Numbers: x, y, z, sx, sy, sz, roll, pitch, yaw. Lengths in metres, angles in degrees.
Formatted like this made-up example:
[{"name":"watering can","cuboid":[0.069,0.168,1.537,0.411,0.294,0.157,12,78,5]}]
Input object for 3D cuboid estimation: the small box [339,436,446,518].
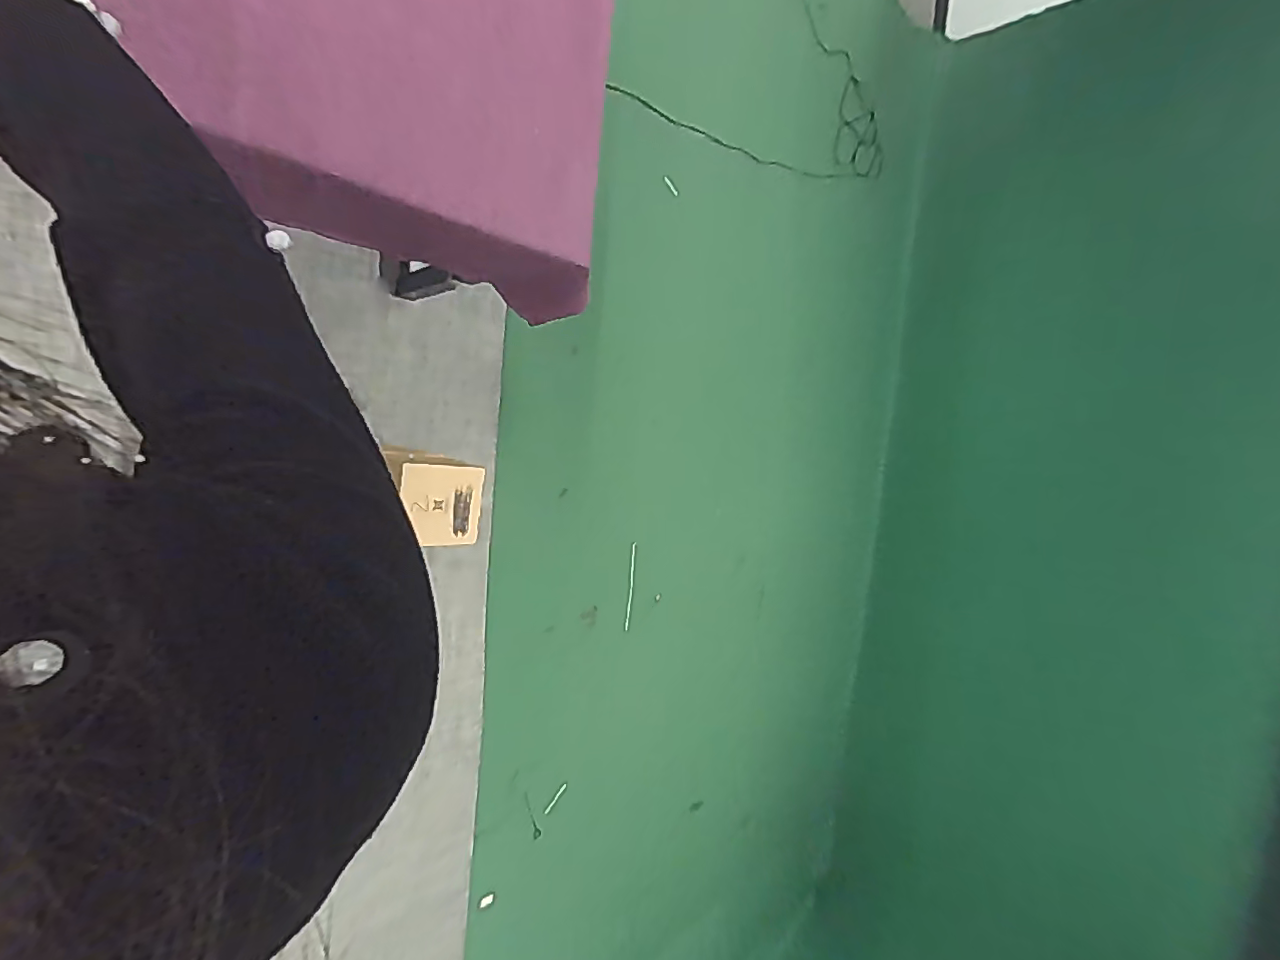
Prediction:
[{"name":"small box","cuboid":[-0.577,-0.009,1.252,0.179,0.176,0.168,1,98,-47]}]
